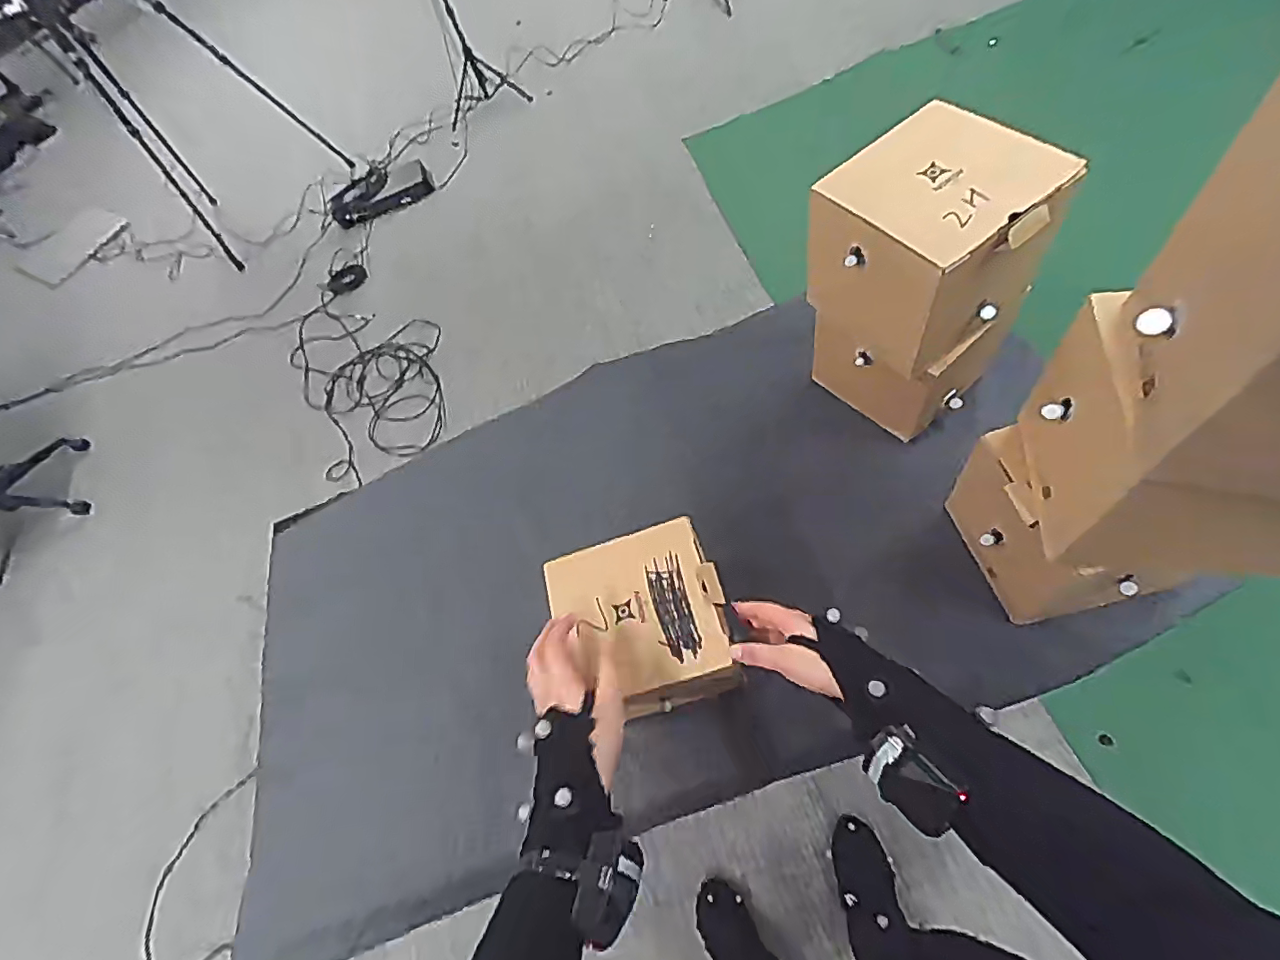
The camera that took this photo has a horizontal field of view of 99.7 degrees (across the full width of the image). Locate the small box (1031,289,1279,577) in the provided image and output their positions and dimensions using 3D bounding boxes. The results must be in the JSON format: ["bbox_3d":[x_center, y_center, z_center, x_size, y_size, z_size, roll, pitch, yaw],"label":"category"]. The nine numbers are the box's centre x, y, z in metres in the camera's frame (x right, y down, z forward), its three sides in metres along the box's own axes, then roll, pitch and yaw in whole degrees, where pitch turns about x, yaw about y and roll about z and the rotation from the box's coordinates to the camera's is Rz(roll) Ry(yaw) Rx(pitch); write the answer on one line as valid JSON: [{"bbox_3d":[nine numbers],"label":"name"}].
[{"bbox_3d":[0.440,-0.031,0.427,0.179,0.176,0.168,2,62,16],"label":"small box"}]

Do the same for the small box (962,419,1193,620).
[{"bbox_3d":[0.472,0.034,0.574,0.179,0.176,0.168,-17,58,7],"label":"small box"}]

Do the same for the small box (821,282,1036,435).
[{"bbox_3d":[0.361,-0.192,0.721,0.168,0.176,0.179,-42,63,-5],"label":"small box"}]

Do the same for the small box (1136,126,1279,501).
[{"bbox_3d":[0.405,-0.089,0.275,0.179,0.176,0.168,11,65,22],"label":"small box"}]

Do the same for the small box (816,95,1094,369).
[{"bbox_3d":[0.306,-0.254,0.577,0.168,0.176,0.179,-36,62,-1],"label":"small box"}]
